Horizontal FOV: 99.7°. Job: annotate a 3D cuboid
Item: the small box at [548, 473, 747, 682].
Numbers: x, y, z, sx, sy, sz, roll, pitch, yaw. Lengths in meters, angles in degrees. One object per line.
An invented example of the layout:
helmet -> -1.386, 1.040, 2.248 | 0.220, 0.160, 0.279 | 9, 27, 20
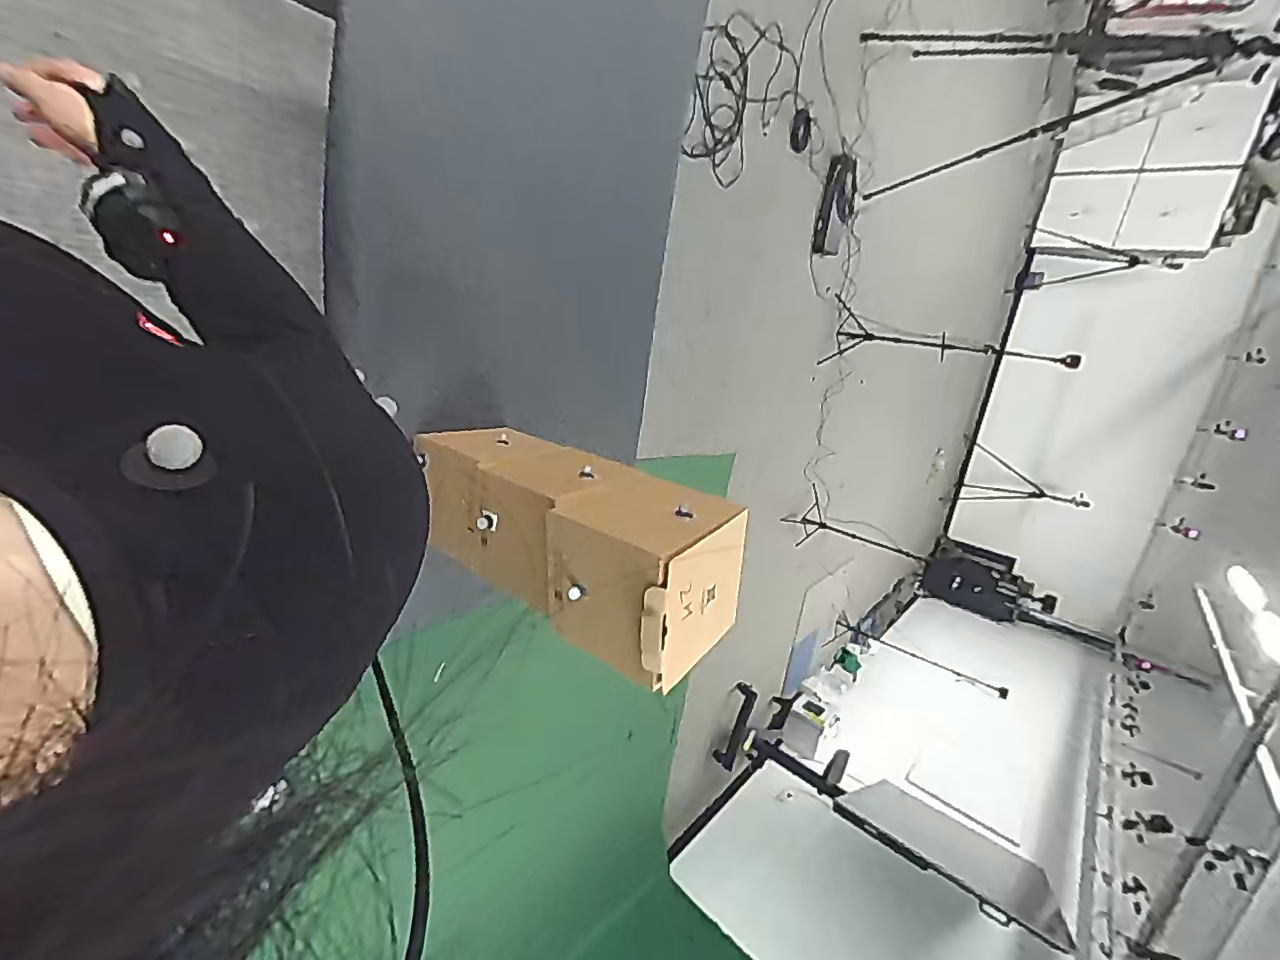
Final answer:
small box -> 0.008, 0.100, 0.657 | 0.179, 0.176, 0.168 | -22, 120, -47

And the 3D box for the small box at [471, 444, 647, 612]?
small box -> -0.114, 0.053, 0.759 | 0.179, 0.176, 0.168 | -17, 117, -48

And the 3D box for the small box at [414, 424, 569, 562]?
small box -> -0.237, 0.010, 0.856 | 0.179, 0.176, 0.168 | -13, 115, -51
